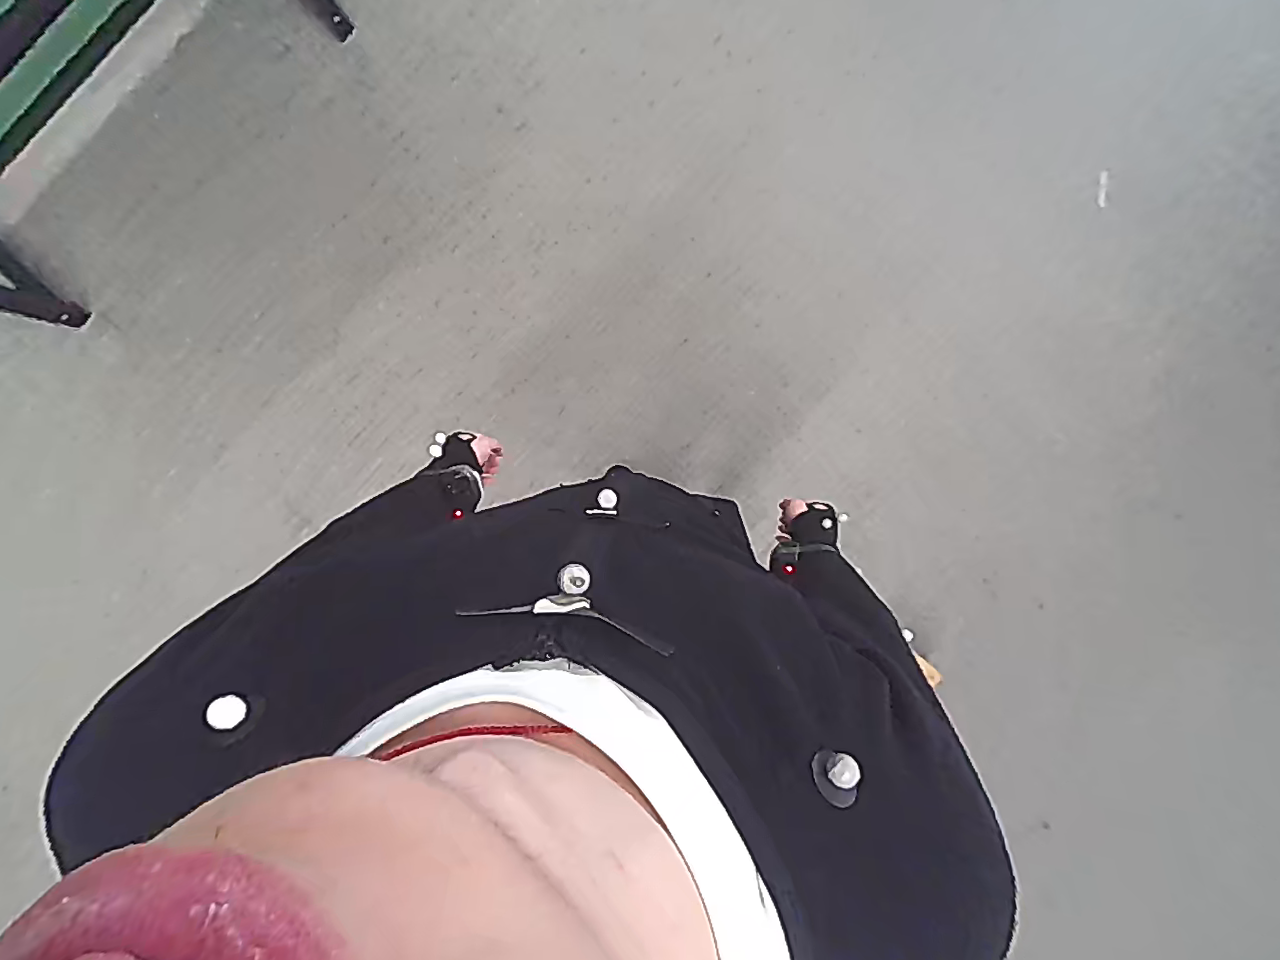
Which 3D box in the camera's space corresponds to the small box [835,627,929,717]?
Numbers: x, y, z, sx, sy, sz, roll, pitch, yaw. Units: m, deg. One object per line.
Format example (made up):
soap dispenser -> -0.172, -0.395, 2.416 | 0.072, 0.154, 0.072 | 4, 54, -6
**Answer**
small box -> 0.656, 0.518, 1.483 | 0.168, 0.176, 0.179 | 10, 90, -1
